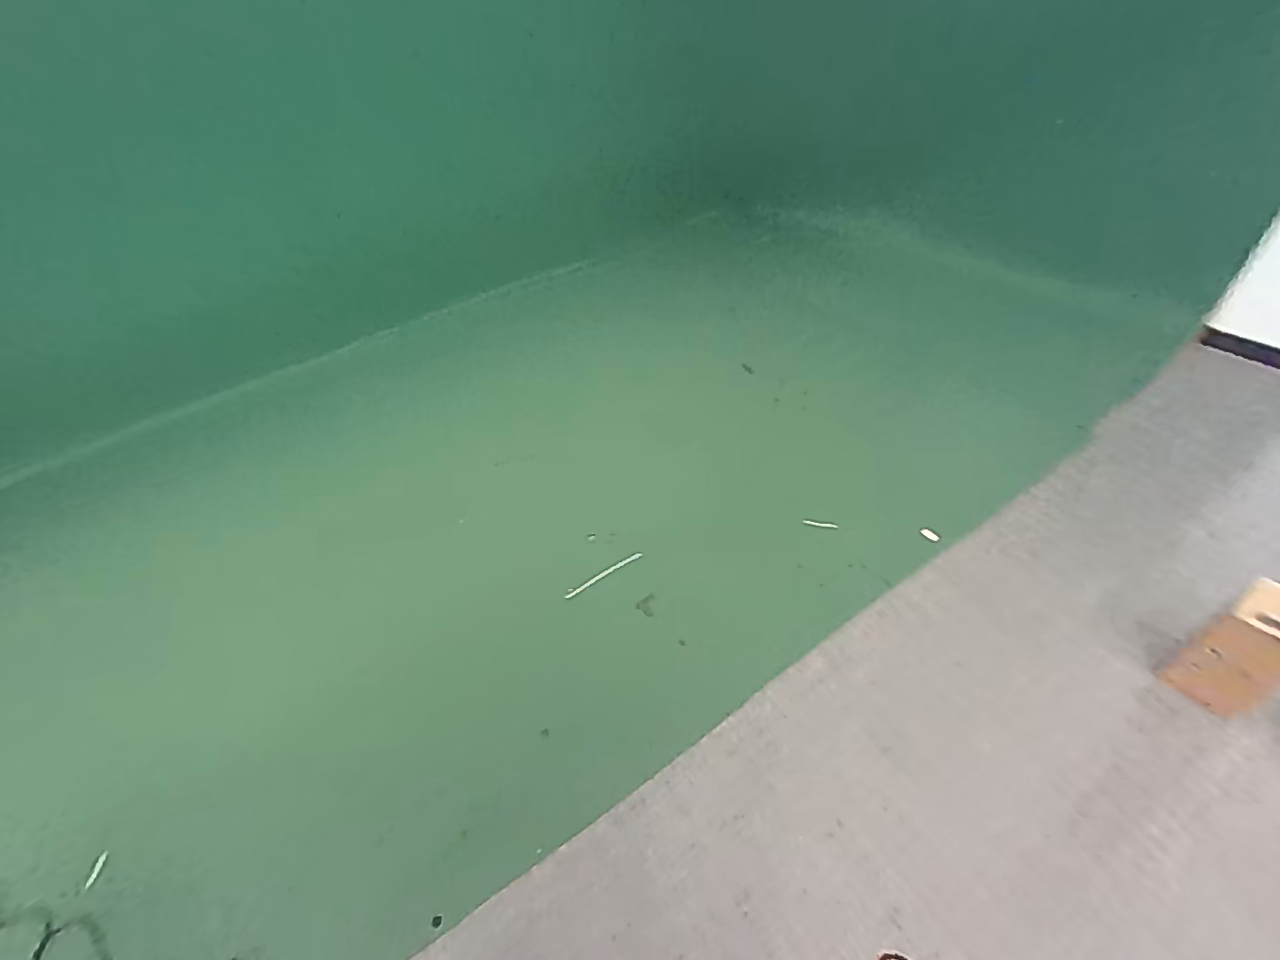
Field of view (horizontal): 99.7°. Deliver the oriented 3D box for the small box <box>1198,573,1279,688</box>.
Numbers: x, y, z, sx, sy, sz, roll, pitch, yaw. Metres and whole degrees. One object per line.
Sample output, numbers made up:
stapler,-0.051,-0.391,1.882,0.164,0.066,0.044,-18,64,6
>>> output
small box,1.530,0.369,1.316,0.179,0.176,0.168,-30,49,-21
